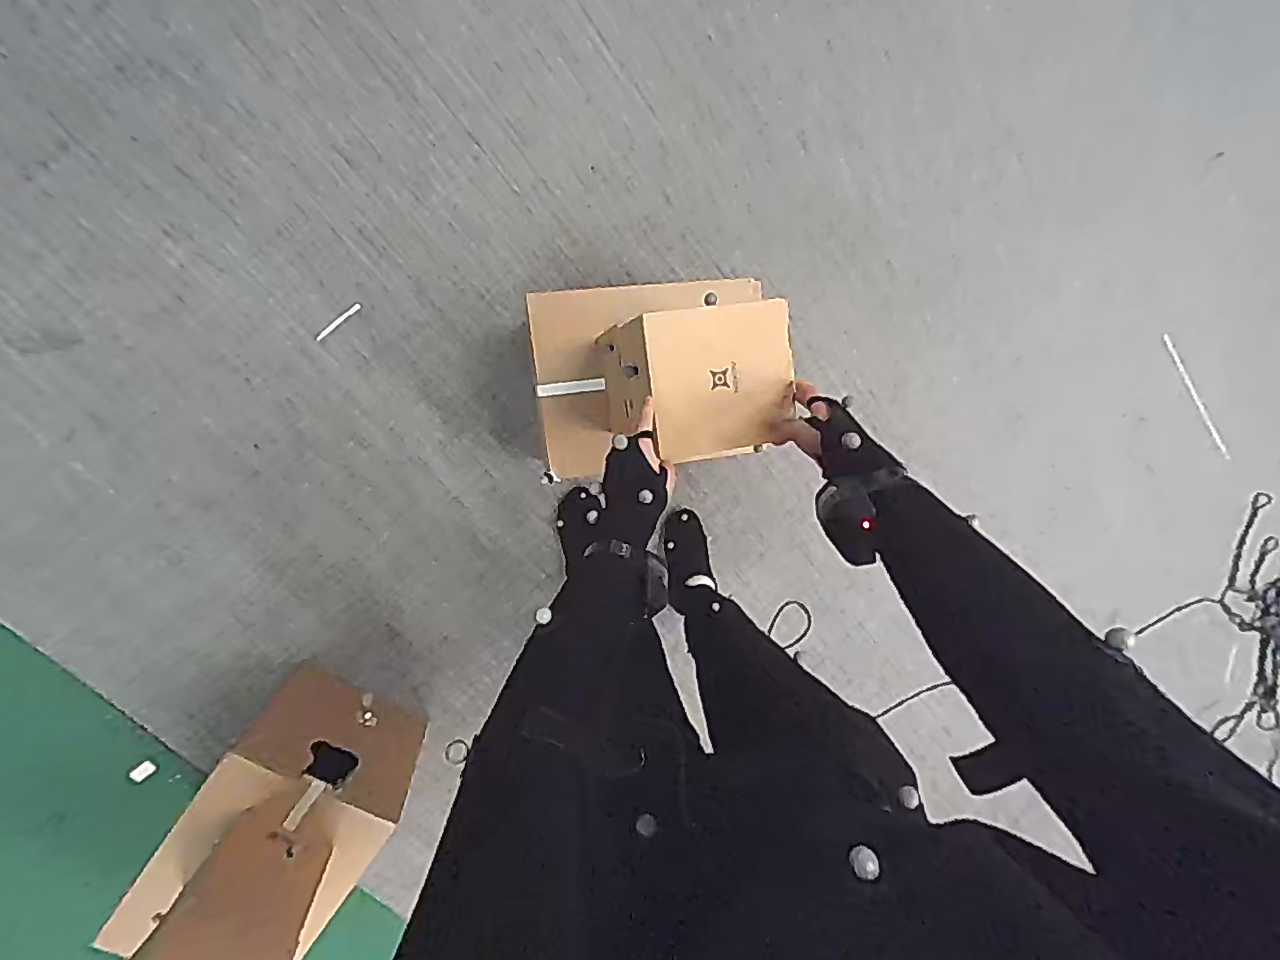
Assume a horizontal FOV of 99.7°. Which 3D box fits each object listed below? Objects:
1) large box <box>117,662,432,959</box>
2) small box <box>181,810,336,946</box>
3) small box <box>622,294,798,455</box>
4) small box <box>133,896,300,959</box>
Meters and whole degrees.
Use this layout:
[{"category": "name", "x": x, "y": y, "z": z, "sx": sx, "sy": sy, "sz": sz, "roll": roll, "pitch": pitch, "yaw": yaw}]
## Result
[{"category": "large box", "x": -0.682, "y": 0.660, "z": 1.087, "sx": 0.320, "sy": 0.320, "sz": 0.408, "roll": 35, "pitch": 92, "yaw": -13}, {"category": "small box", "x": -0.619, "y": 0.675, "z": 0.849, "sx": 0.168, "sy": 0.176, "sz": 0.179, "roll": 38, "pitch": 90, "yaw": -16}, {"category": "small box", "x": 0.078, "y": -0.131, "z": 0.692, "sx": 0.179, "sy": 0.176, "sz": 0.168, "roll": -10, "pitch": 101, "yaw": -11}, {"category": "small box", "x": -0.583, "y": 0.690, "z": 0.690, "sx": 0.179, "sy": 0.176, "sz": 0.168, "roll": 40, "pitch": 89, "yaw": -15}]
